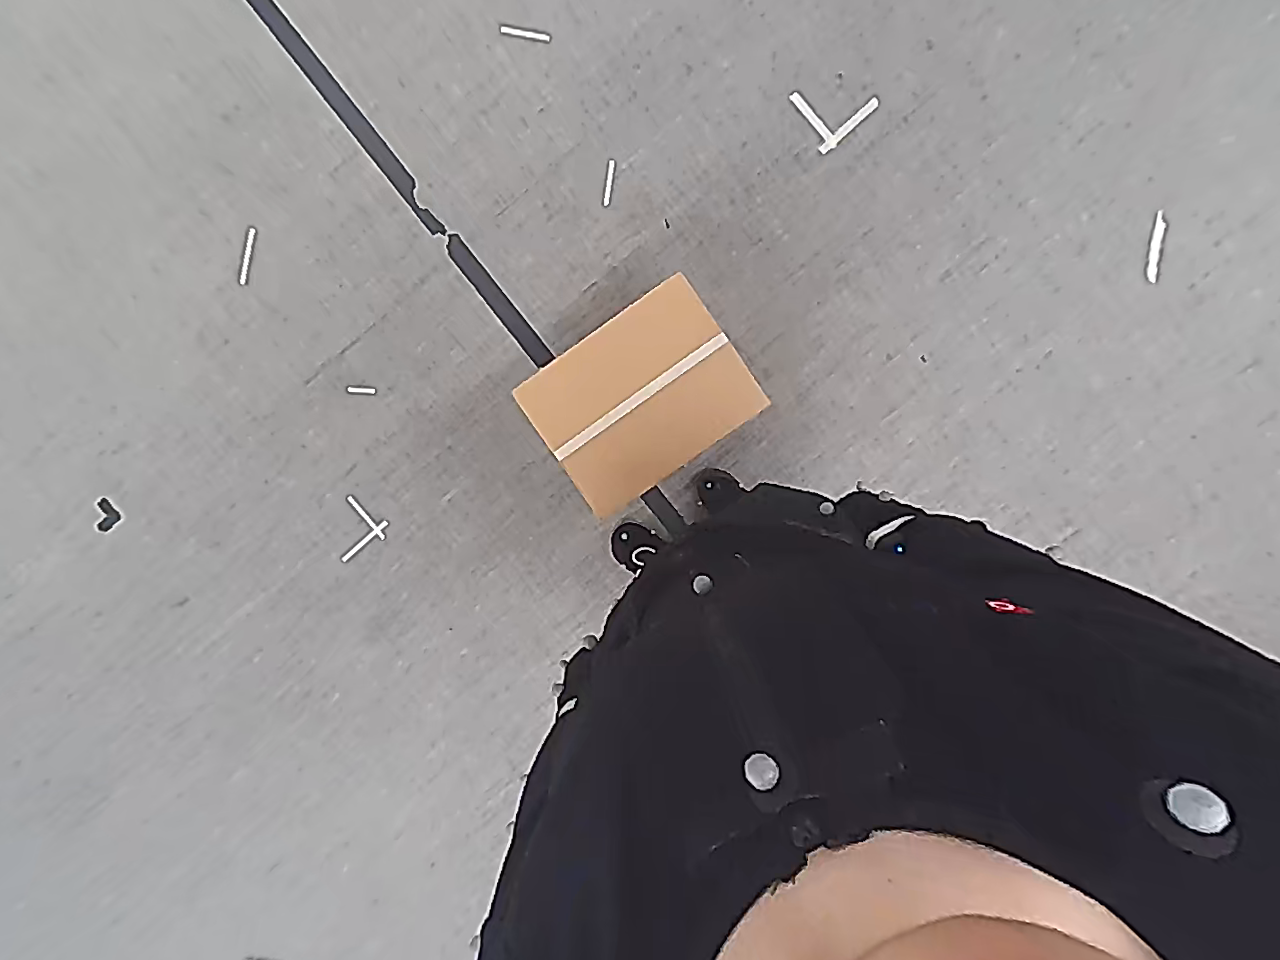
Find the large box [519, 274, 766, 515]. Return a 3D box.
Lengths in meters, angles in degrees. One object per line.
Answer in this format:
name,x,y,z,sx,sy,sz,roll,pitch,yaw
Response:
large box,0.005,-0.172,1.209,0.408,0.320,0.320,-35,94,3
